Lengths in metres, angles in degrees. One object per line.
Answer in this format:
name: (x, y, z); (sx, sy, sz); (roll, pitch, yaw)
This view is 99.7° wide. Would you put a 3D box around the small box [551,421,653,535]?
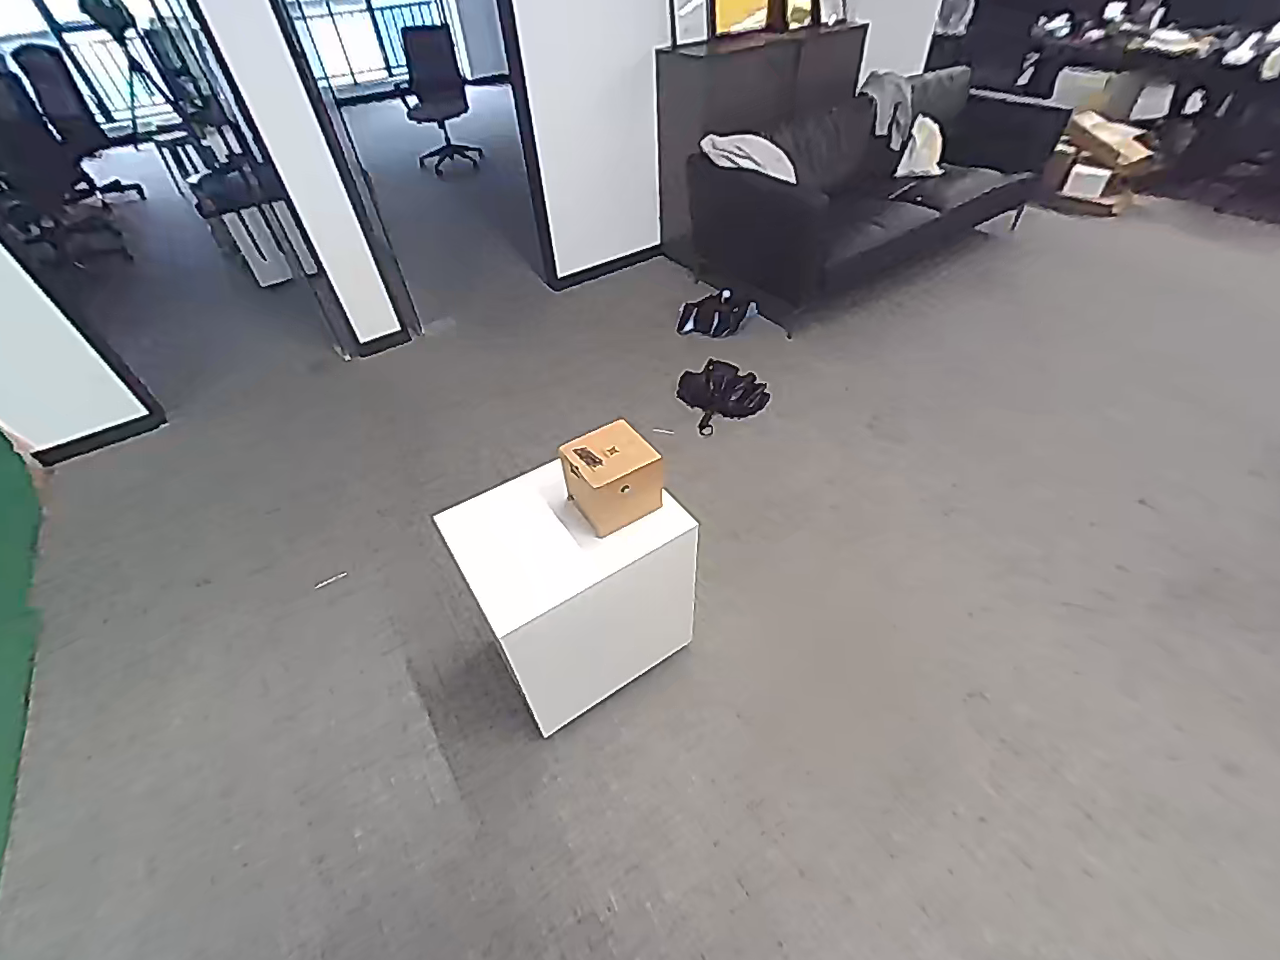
small box: (-0.084, -0.003, 1.243); (0.179, 0.176, 0.168); (-25, 50, -24)
